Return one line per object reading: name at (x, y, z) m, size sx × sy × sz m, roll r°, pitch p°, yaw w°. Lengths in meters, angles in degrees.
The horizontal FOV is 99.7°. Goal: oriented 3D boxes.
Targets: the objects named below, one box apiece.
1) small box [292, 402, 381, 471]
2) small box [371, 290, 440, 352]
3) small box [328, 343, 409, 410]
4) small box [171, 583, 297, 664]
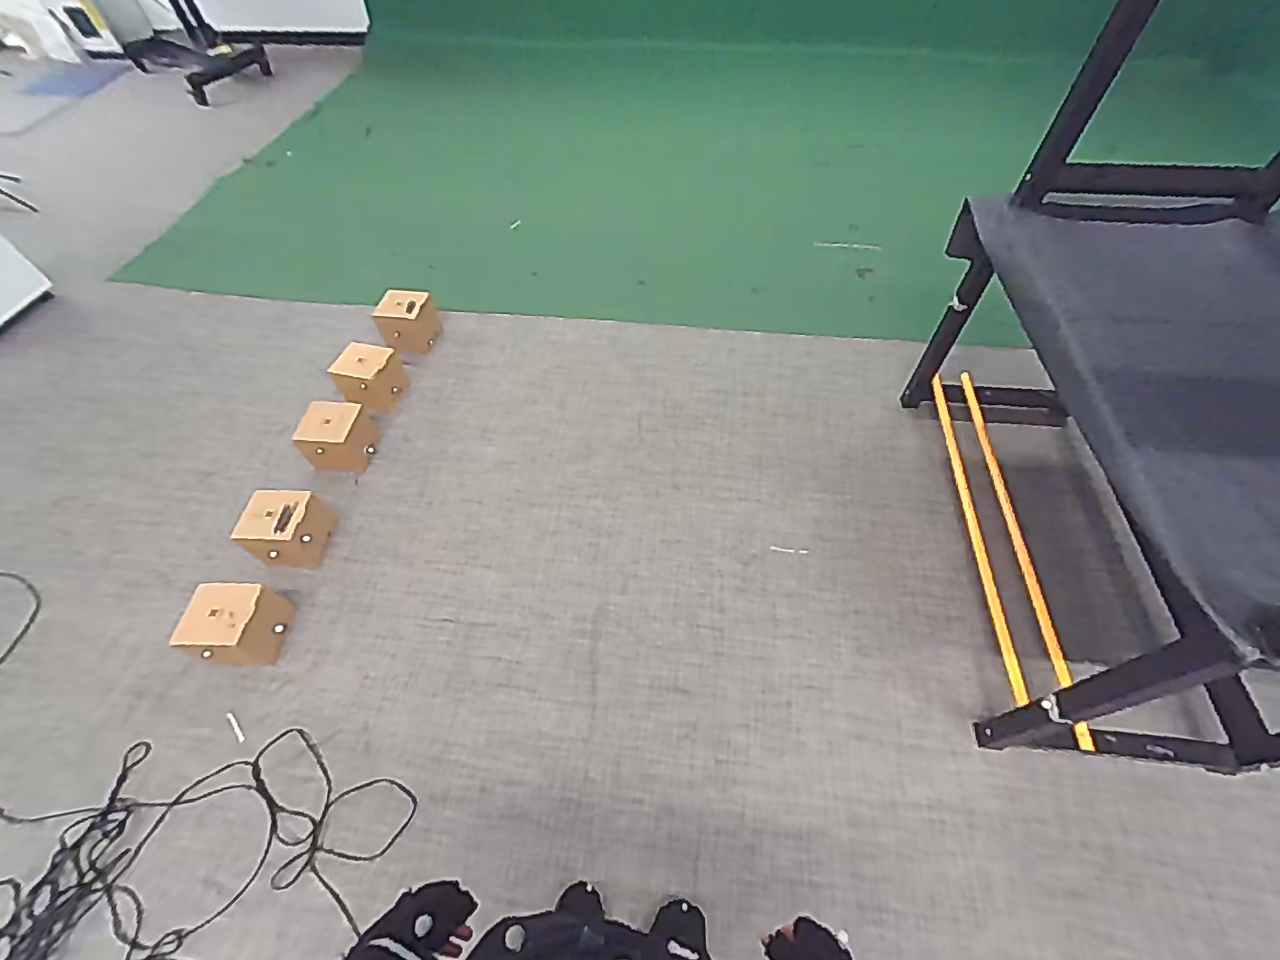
small box at (-1.008, -0.142, 1.810) m, size 0.179 × 0.176 × 0.168 m, roll 4°, pitch 57°, yaw 2°
small box at (-0.924, -0.631, 2.154) m, size 0.179 × 0.176 × 0.168 m, roll 6°, pitch 55°, yaw 6°
small box at (-0.984, -0.375, 1.974) m, size 0.179 × 0.176 × 0.168 m, roll 11°, pitch 56°, yaw 8°
small box at (-1.067, 0.384, 1.439) m, size 0.179 × 0.176 × 0.168 m, roll 0°, pitch 56°, yaw 1°
